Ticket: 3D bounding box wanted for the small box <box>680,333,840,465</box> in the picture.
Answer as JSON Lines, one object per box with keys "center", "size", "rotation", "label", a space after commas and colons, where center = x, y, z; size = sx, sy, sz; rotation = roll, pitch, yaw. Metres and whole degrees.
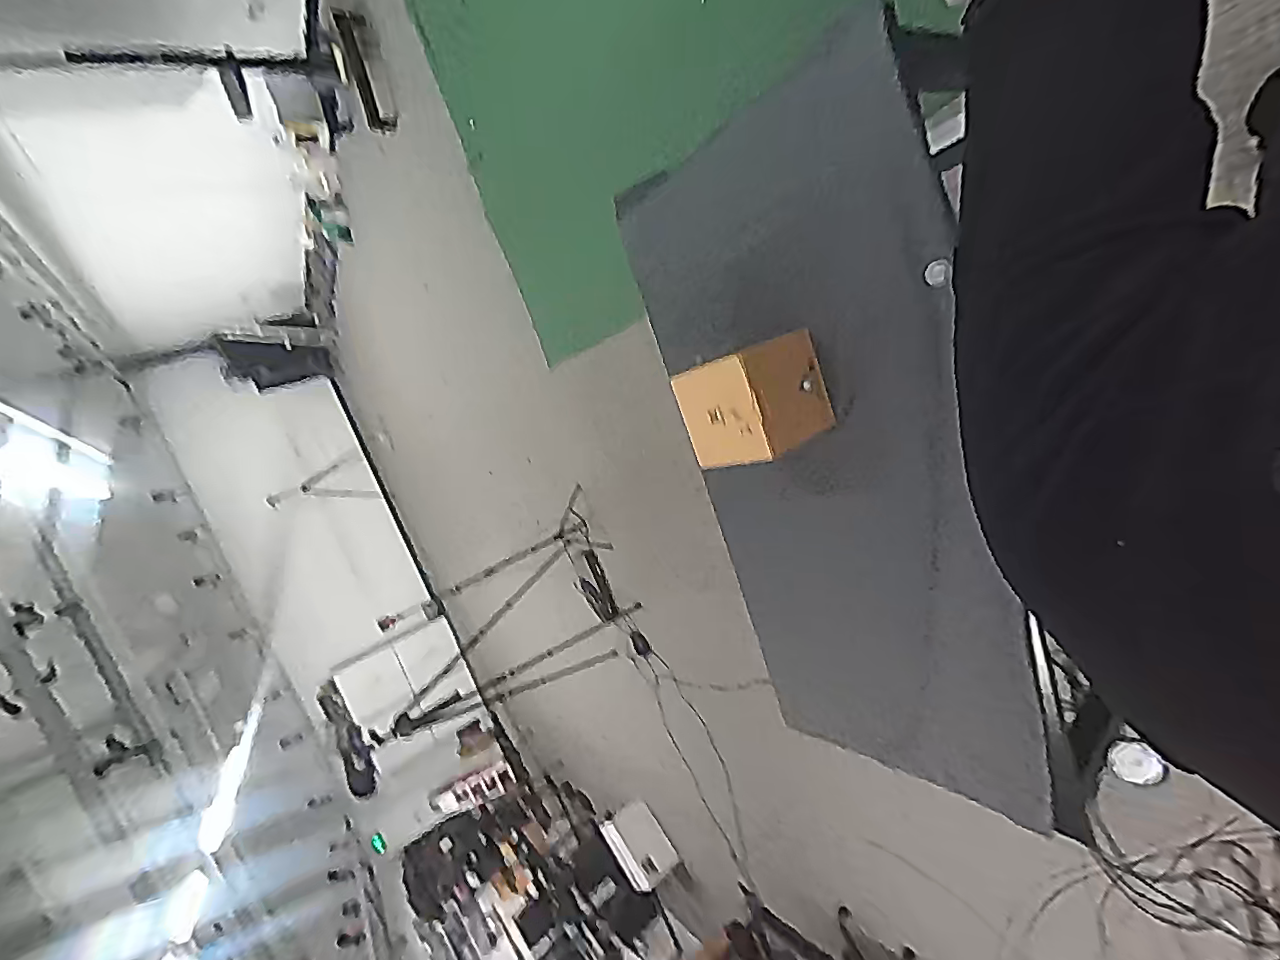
{"center": [0.203, -0.134, 0.917], "size": [0.179, 0.176, 0.168], "rotation": [-7, 106, 57], "label": "small box"}
